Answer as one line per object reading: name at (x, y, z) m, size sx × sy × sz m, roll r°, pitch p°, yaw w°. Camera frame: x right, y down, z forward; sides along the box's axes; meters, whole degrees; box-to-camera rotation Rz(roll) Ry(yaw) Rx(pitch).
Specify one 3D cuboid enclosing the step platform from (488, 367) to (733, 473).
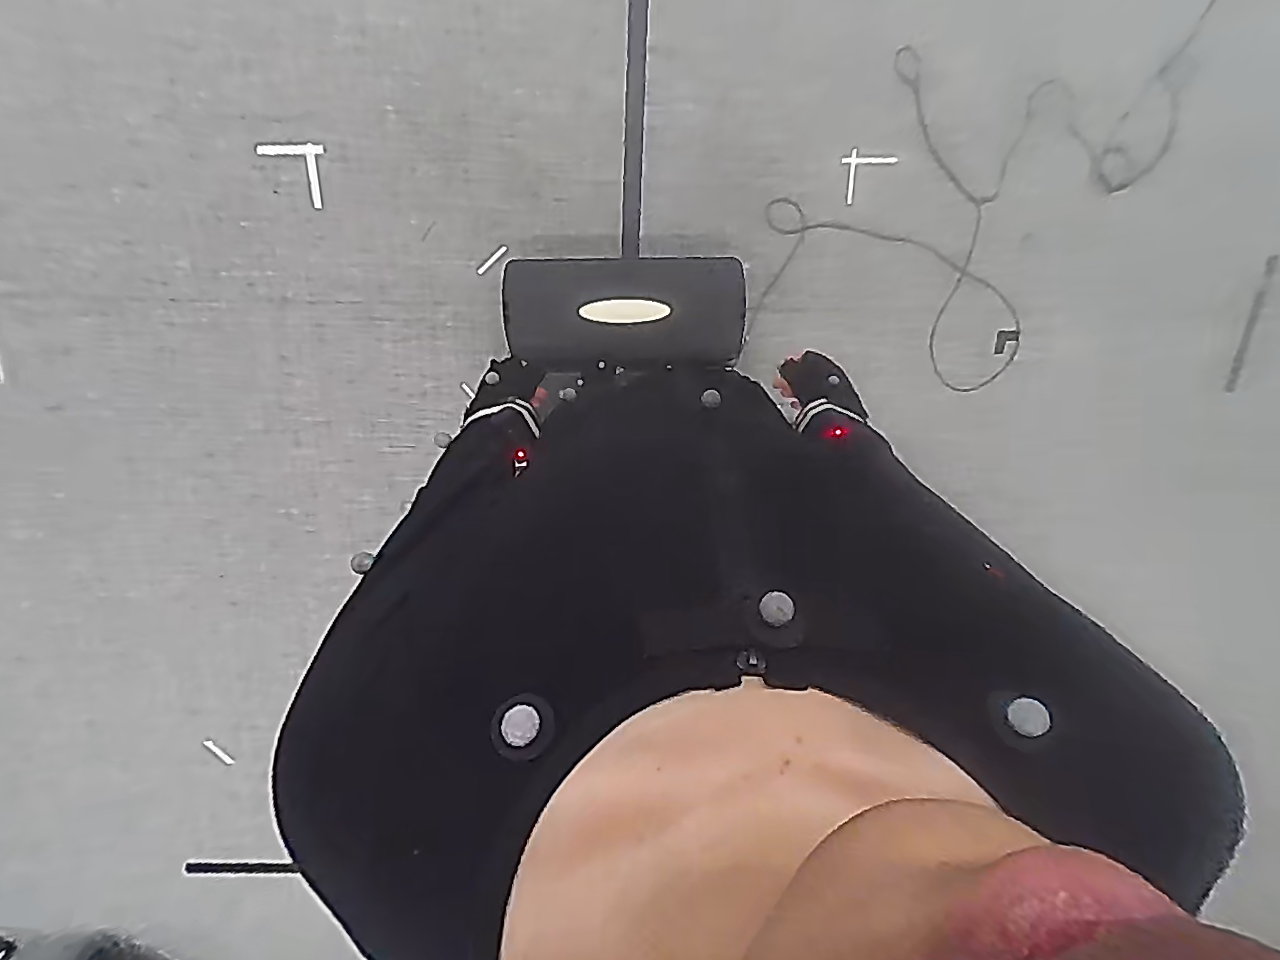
step platform at (-0.080, -0.173, 1.547) m, size 0.684 × 0.204 × 0.286 m, roll 0°, pitch 104°, yaw 0°
